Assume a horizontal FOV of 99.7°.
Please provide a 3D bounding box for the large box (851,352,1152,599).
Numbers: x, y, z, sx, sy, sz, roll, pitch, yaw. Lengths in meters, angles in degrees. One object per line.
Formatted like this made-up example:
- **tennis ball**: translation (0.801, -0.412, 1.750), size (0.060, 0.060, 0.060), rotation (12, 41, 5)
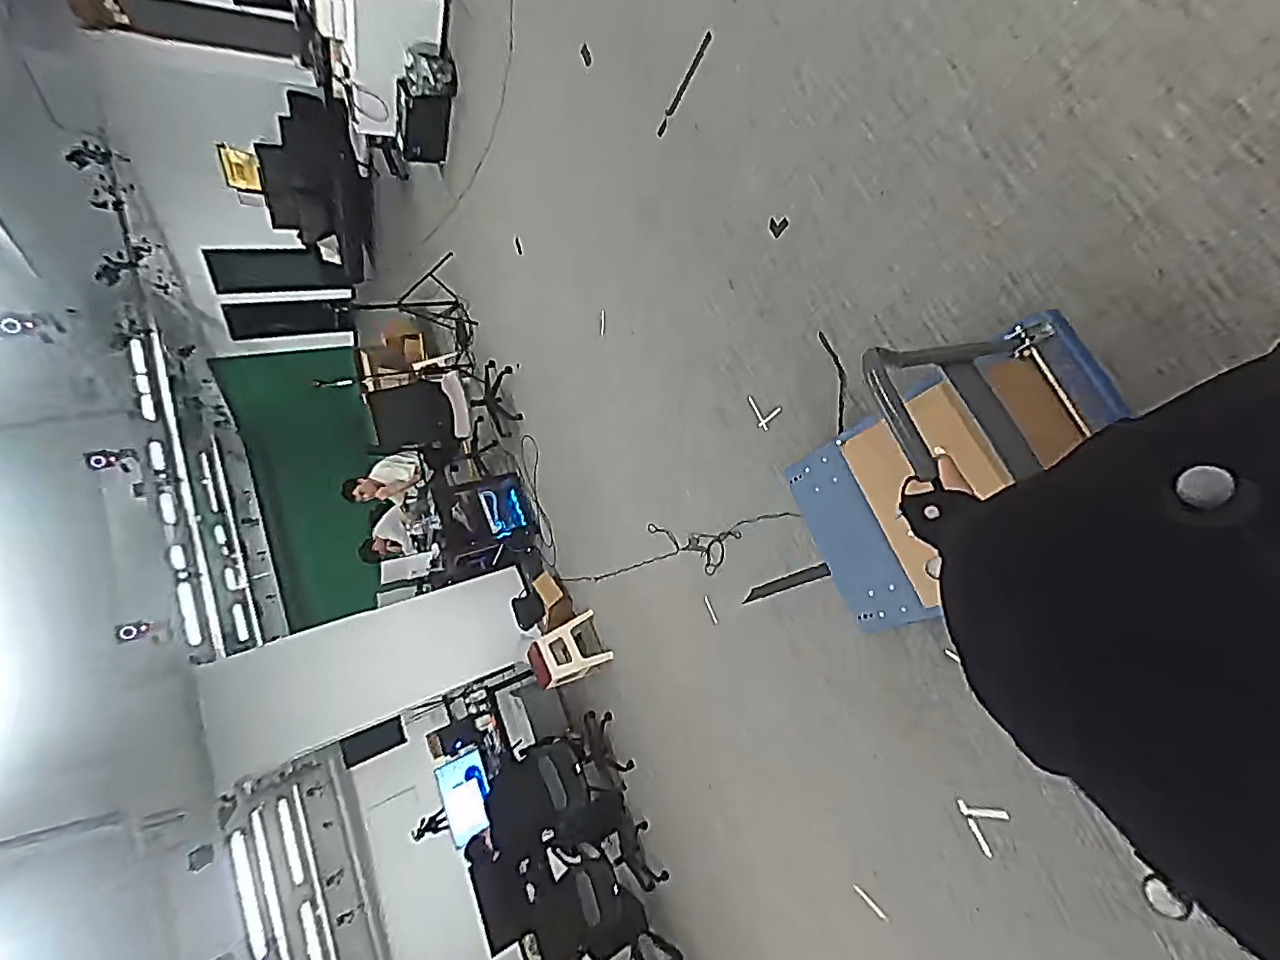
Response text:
- **large box**: translation (0.748, -0.009, 1.154), size (0.320, 0.320, 0.408), rotation (-44, 65, 56)
